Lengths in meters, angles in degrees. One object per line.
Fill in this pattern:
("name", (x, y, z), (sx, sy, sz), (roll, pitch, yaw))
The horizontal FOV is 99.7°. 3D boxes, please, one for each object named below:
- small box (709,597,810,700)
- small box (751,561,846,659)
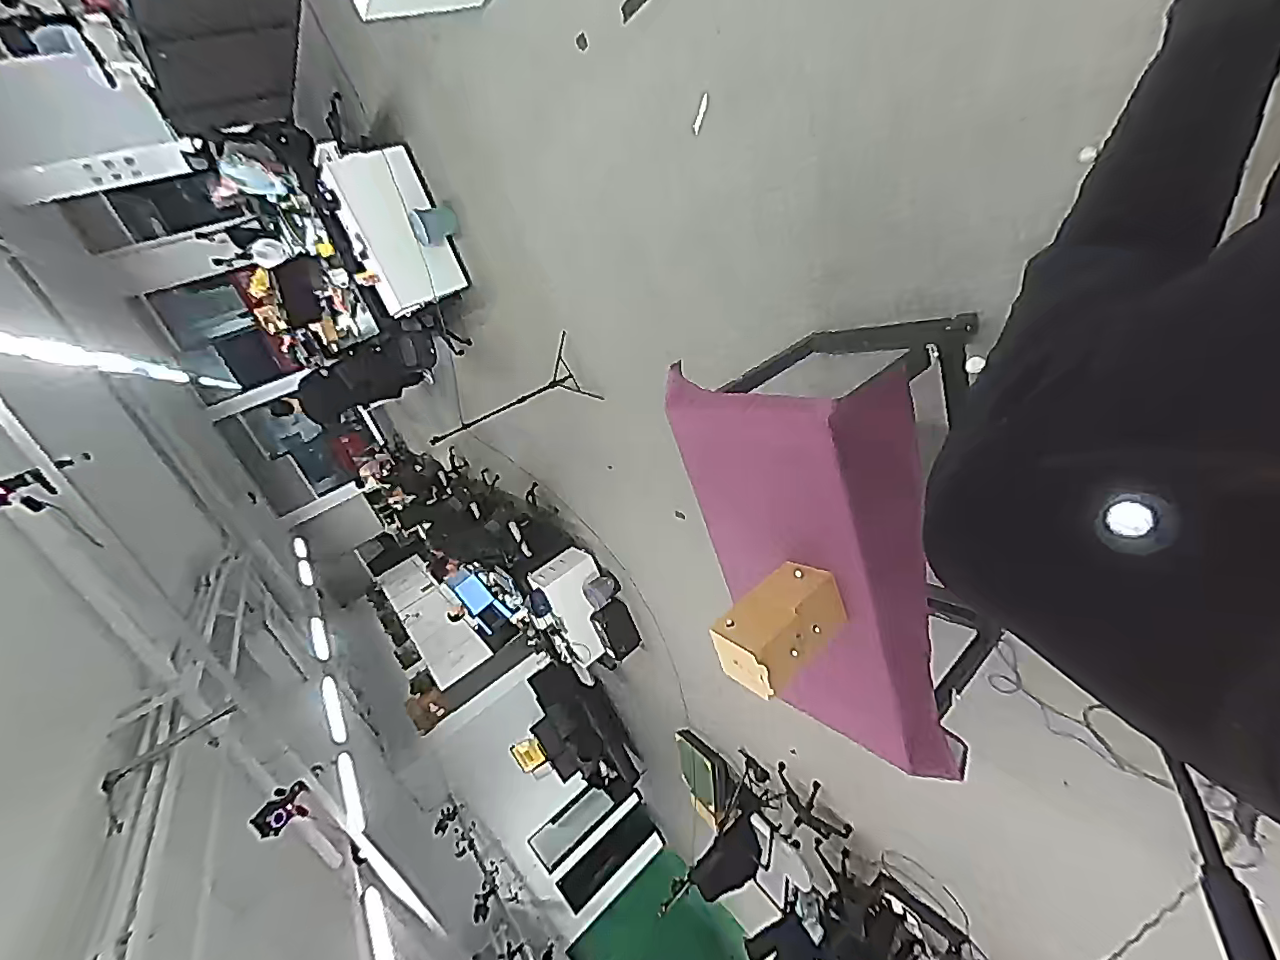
("small box", (0.318, 0.436, 1.435), (0.179, 0.176, 0.168), (16, 133, 54))
("small box", (0.445, 0.356, 1.503), (0.168, 0.176, 0.179), (8, 125, 57))
